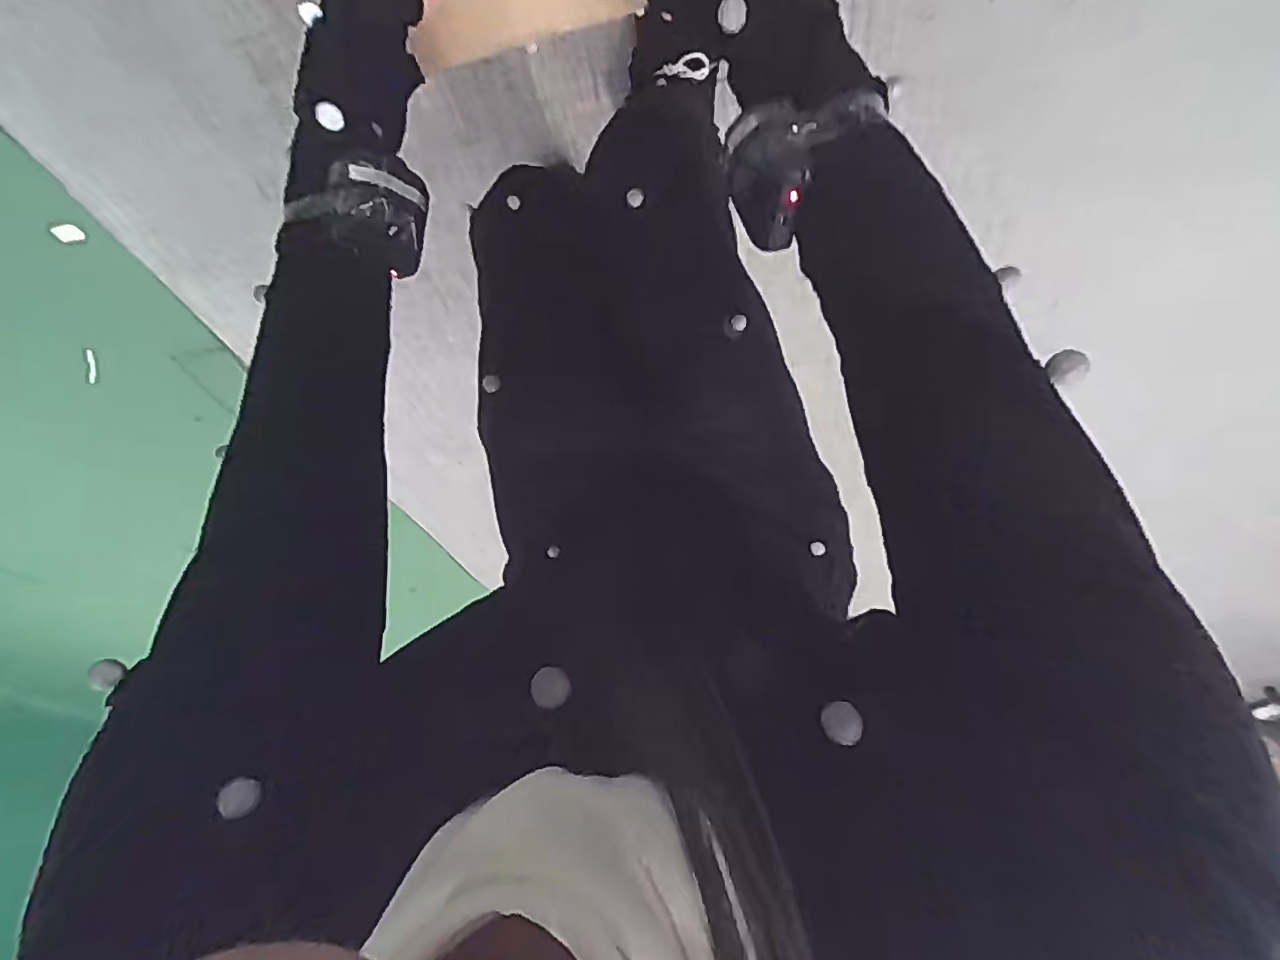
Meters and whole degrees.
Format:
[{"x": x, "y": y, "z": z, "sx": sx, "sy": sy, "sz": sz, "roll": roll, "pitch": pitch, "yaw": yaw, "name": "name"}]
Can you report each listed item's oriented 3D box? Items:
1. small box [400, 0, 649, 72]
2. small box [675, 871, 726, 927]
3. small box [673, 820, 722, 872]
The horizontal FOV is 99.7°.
[{"x": -0.100, "y": -0.439, "z": 0.400, "sx": 0.179, "sy": 0.176, "sz": 0.168, "roll": -12, "pitch": 136, "yaw": 6, "name": "small box"}, {"x": 0.239, "y": 1.637, "z": 2.122, "sx": 0.179, "sy": 0.176, "sz": 0.168, "roll": -8, "pitch": 145, "yaw": 12, "name": "small box"}, {"x": 0.235, "y": 1.501, "z": 2.214, "sx": 0.179, "sy": 0.176, "sz": 0.168, "roll": -10, "pitch": 144, "yaw": 11, "name": "small box"}]
